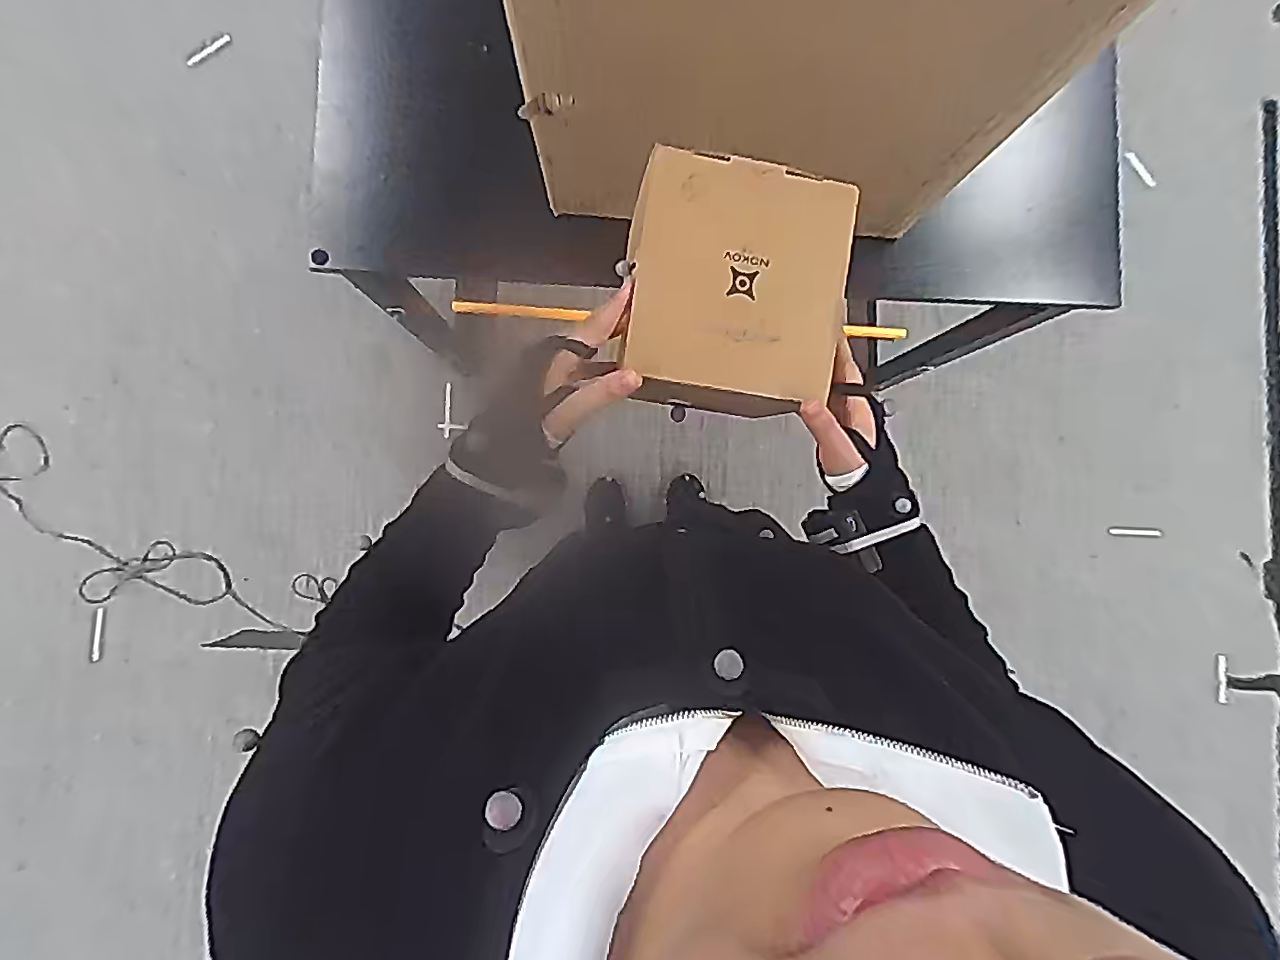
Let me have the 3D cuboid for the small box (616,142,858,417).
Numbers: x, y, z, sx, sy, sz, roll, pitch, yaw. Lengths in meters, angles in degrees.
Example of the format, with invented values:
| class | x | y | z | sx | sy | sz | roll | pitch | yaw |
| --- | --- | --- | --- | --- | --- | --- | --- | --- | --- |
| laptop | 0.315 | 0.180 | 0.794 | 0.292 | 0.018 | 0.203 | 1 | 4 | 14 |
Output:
| class | x | y | z | sx | sy | sz | roll | pitch | yaw |
| --- | --- | --- | --- | --- | --- | --- | --- | --- | --- |
| small box | 0.072 | -0.161 | 0.495 | 0.168 | 0.176 | 0.179 | 8 | 92 | -6 |
